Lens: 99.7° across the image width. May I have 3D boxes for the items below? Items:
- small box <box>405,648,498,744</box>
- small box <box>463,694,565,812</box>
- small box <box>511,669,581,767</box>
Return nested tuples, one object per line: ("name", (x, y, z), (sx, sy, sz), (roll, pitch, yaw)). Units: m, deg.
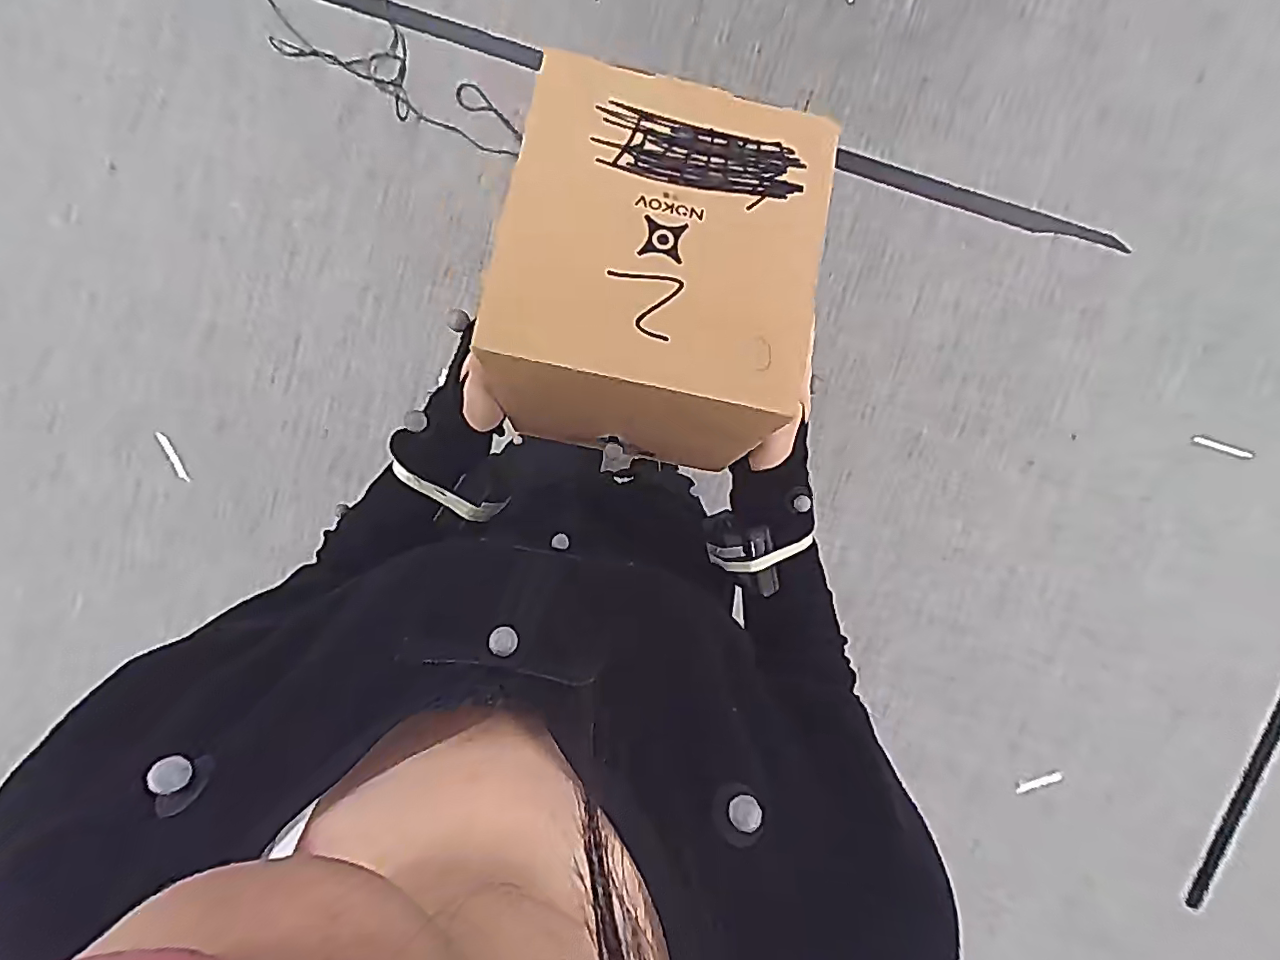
("small box", (-0.502, 0.573, 1.458), (0.179, 0.176, 0.168), (11, 96, 1))
("small box", (-0.292, 0.638, 1.286), (0.179, 0.176, 0.168), (15, 97, 1))
("small box", (-0.263, 0.629, 1.450), (0.179, 0.176, 0.168), (11, 95, 0))
